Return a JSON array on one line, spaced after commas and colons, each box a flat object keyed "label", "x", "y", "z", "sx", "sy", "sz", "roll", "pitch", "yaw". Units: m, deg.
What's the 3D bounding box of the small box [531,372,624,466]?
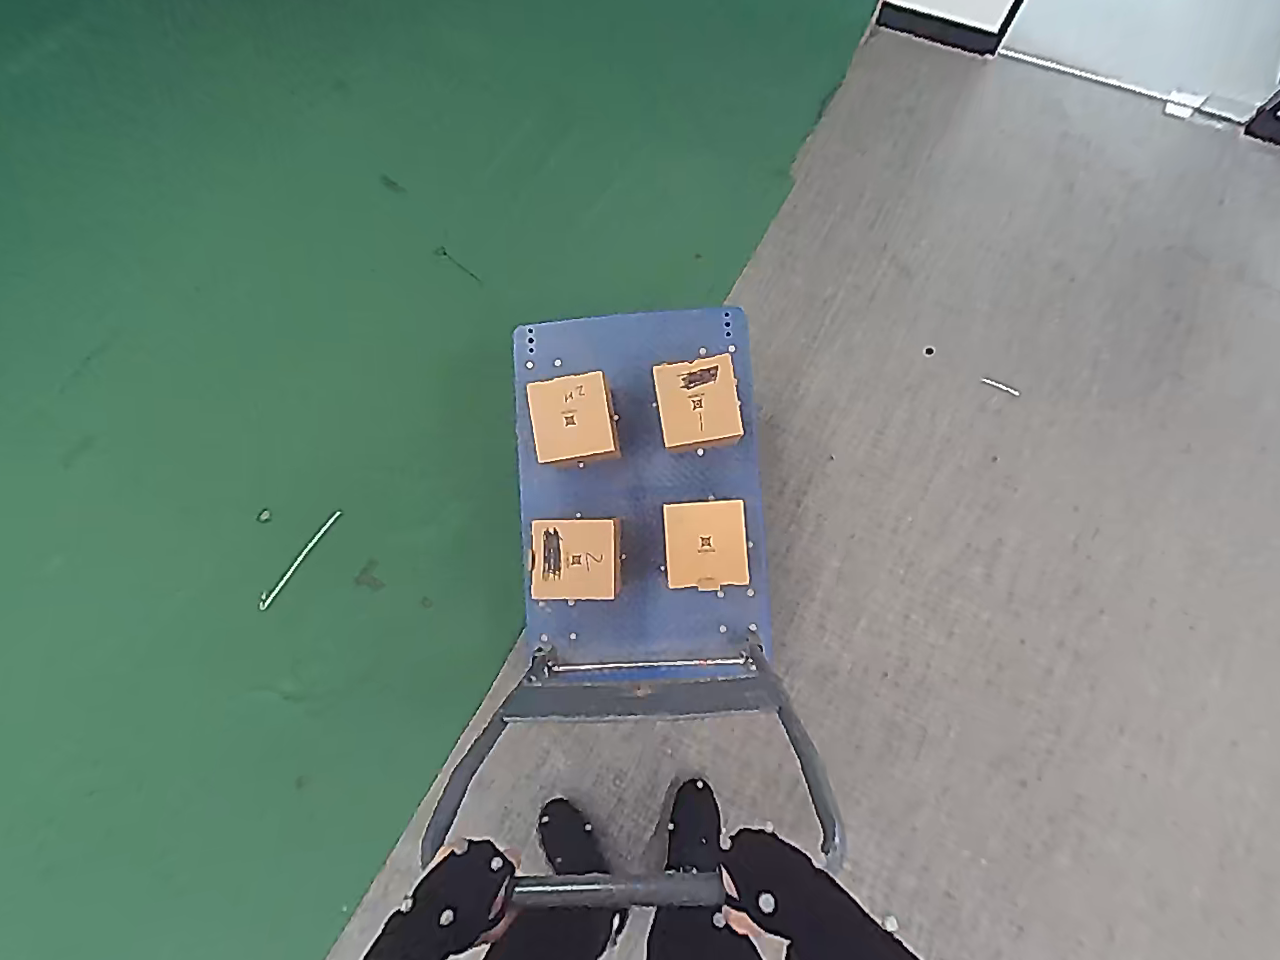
[{"label": "small box", "x": -0.133, "y": -0.128, "z": 1.212, "sx": 0.168, "sy": 0.176, "sz": 0.179, "roll": -9, "pitch": 86, "yaw": 2}]

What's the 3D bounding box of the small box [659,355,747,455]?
[{"label": "small box", "x": 0.134, "y": -0.158, "z": 1.197, "sx": 0.168, "sy": 0.176, "sz": 0.179, "roll": -9, "pitch": 87, "yaw": 4}]

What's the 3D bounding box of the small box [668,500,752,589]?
[{"label": "small box", "x": 0.146, "y": 0.137, "z": 1.181, "sx": 0.168, "sy": 0.176, "sz": 0.179, "roll": -3, "pitch": 87, "yaw": 4}]
